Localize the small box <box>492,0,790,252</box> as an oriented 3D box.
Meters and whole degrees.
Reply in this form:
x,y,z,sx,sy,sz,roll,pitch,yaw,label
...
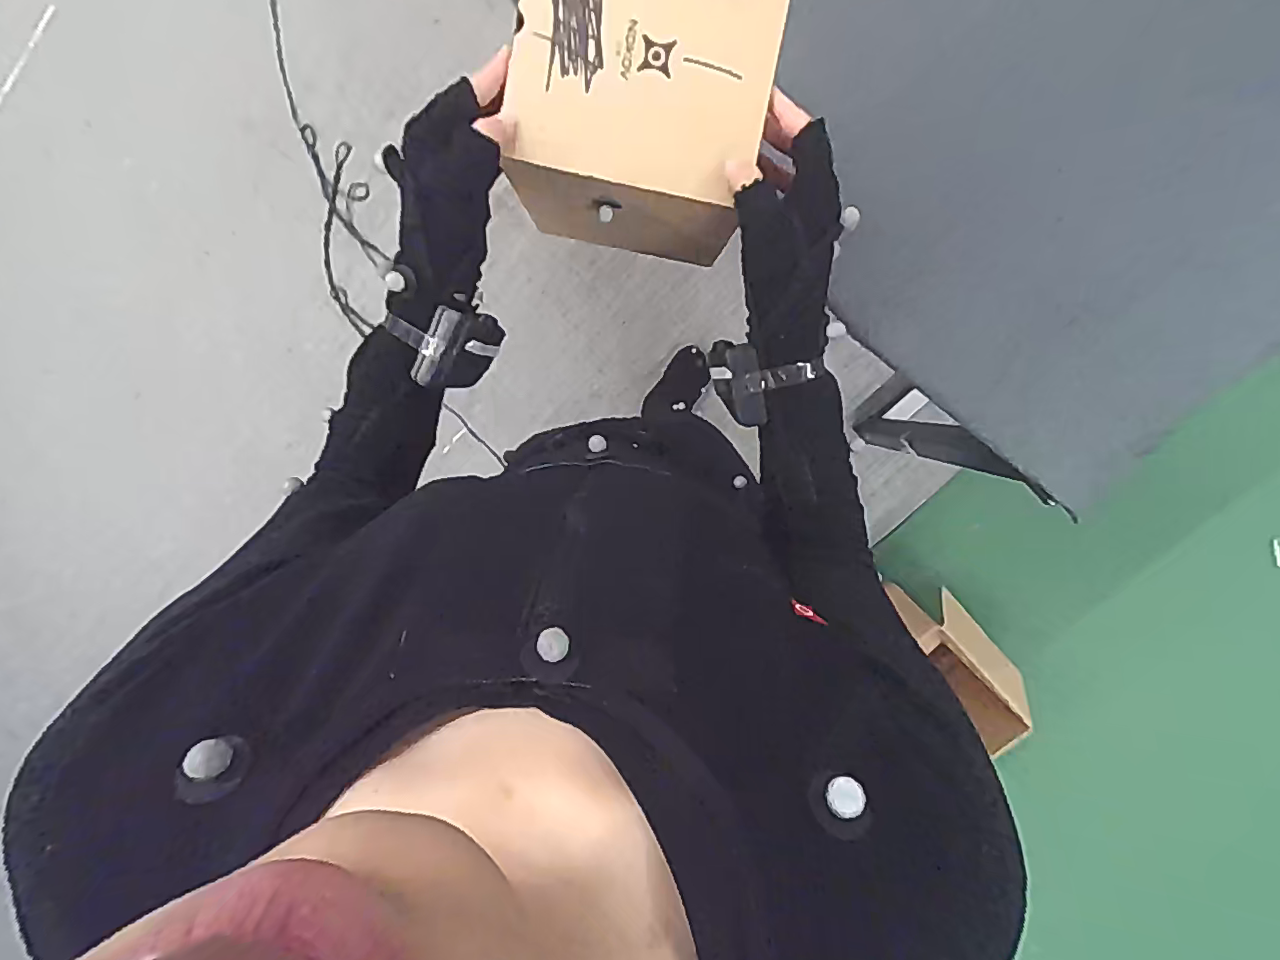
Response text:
x,y,z,sx,sy,sz,roll,pitch,yaw,label
0.002,-0.296,0.425,0.179,0.176,0.168,11,99,-3,small box
